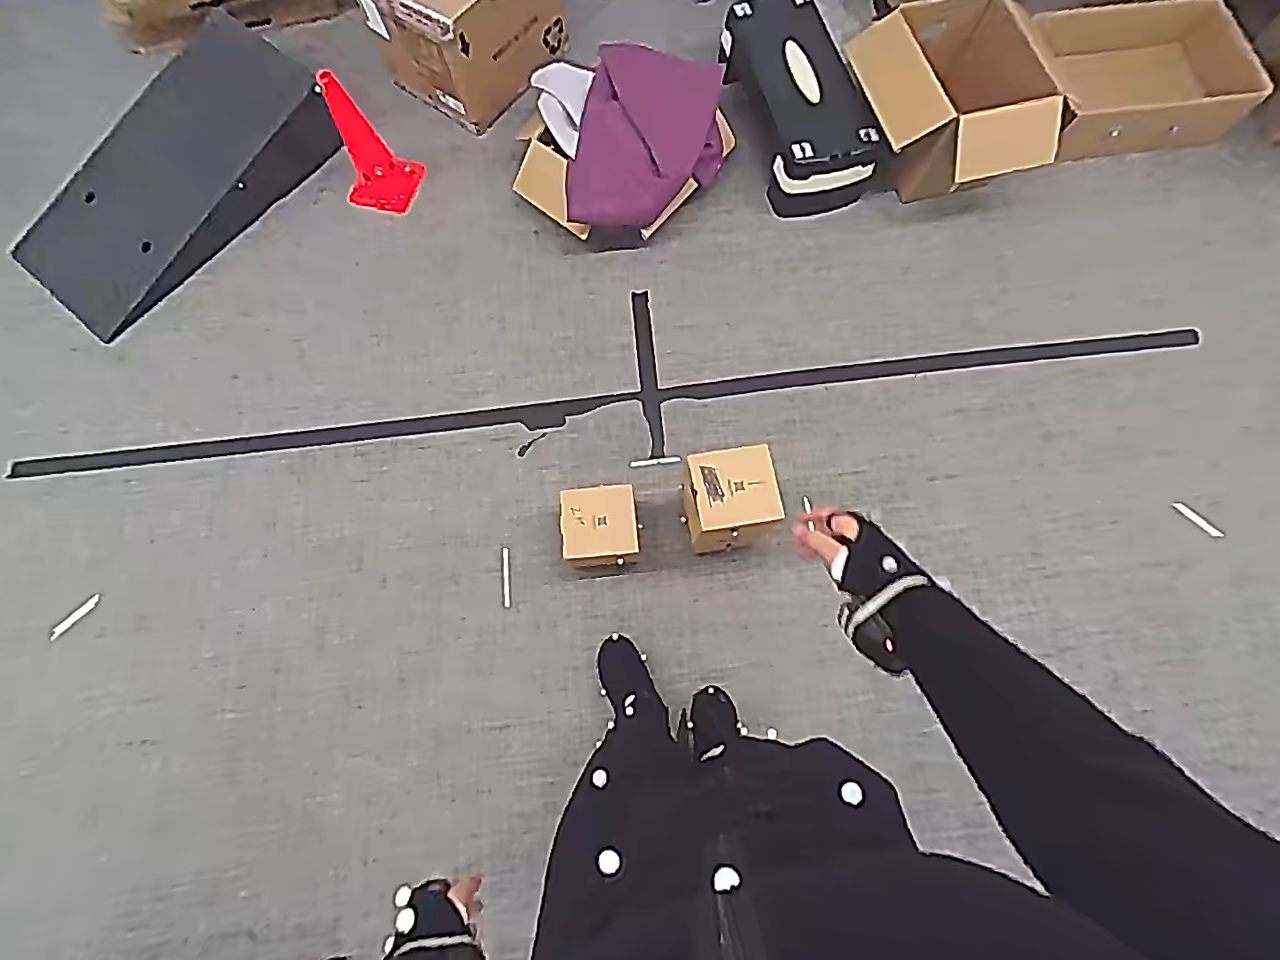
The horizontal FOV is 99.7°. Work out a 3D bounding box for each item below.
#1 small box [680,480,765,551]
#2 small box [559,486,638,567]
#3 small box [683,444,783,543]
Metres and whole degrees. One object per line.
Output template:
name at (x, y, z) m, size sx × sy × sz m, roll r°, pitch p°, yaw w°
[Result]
small box at (0.197, 0.078, 1.340) m, size 0.168 × 0.176 × 0.179 m, roll -8°, pitch 75°, yaw -2°
small box at (-0.098, 0.118, 1.325) m, size 0.179 × 0.176 × 0.168 m, roll -5°, pitch 74°, yaw -1°
small box at (0.191, 0.036, 1.179) m, size 0.179 × 0.176 × 0.168 m, roll -8°, pitch 74°, yaw -3°
